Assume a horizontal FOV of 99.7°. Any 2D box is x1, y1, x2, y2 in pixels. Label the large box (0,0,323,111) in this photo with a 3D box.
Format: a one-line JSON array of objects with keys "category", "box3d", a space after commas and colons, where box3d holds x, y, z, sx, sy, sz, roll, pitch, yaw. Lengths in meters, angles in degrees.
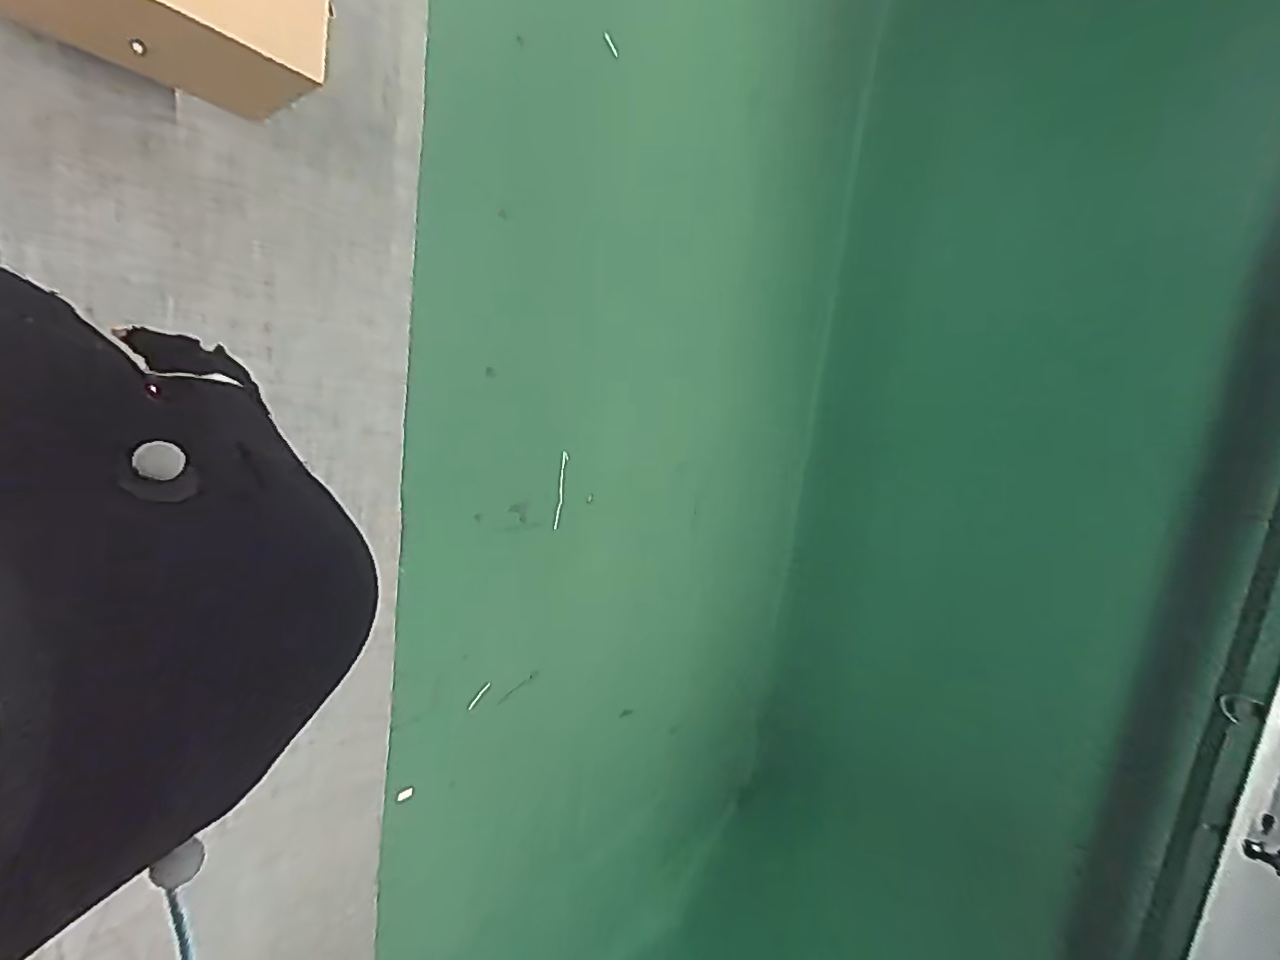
[{"category": "large box", "box3d": [-0.743, -0.831, 0.803, 0.408, 0.320, 0.320, -2, 103, -52]}]
